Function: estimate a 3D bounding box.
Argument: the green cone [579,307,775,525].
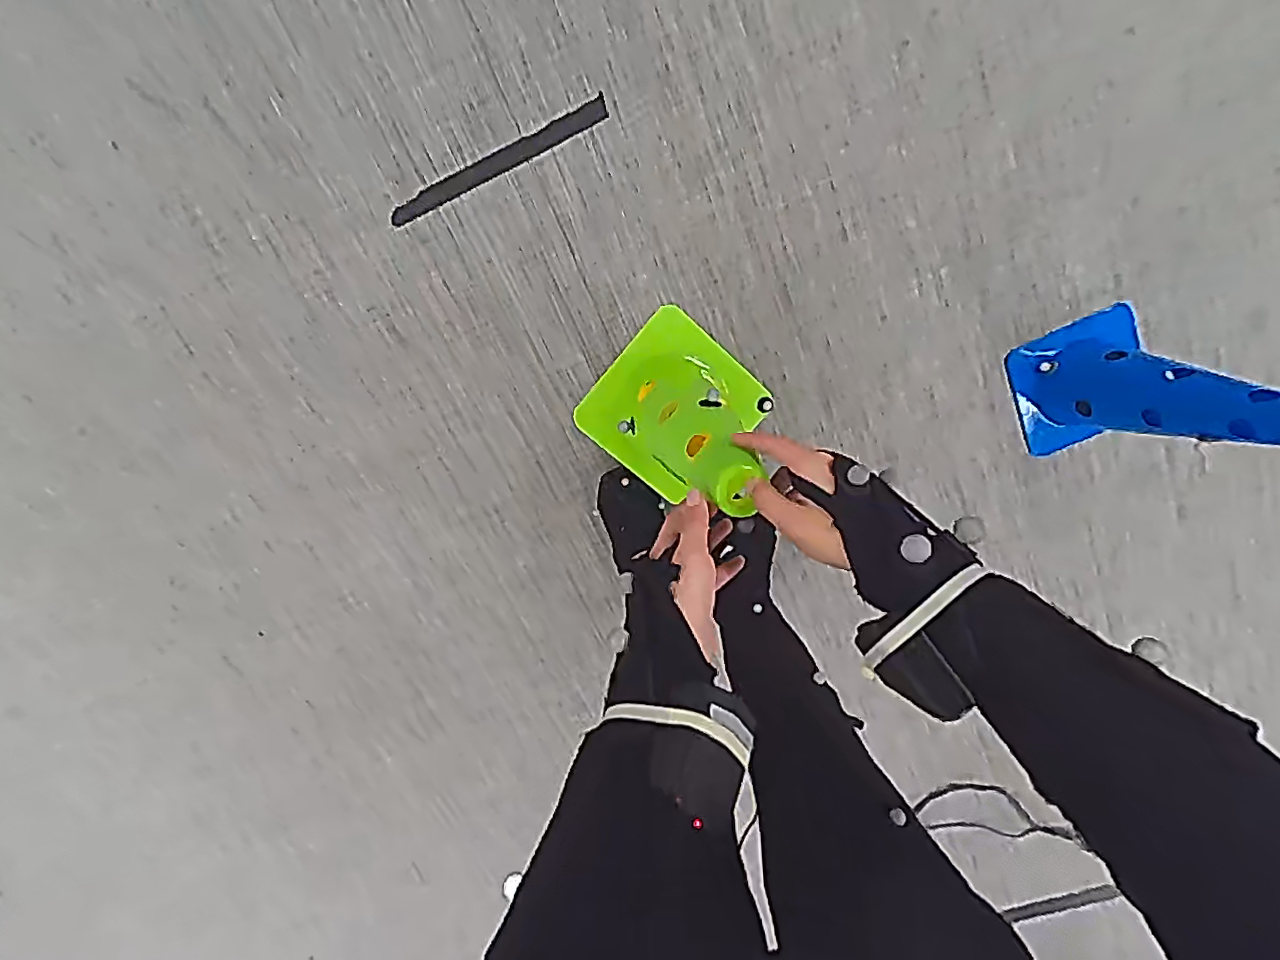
[{"bbox_3d":[0.058,-0.043,0.544,0.200,0.368,0.202,39,101,-13],"label":"green cone"}]
